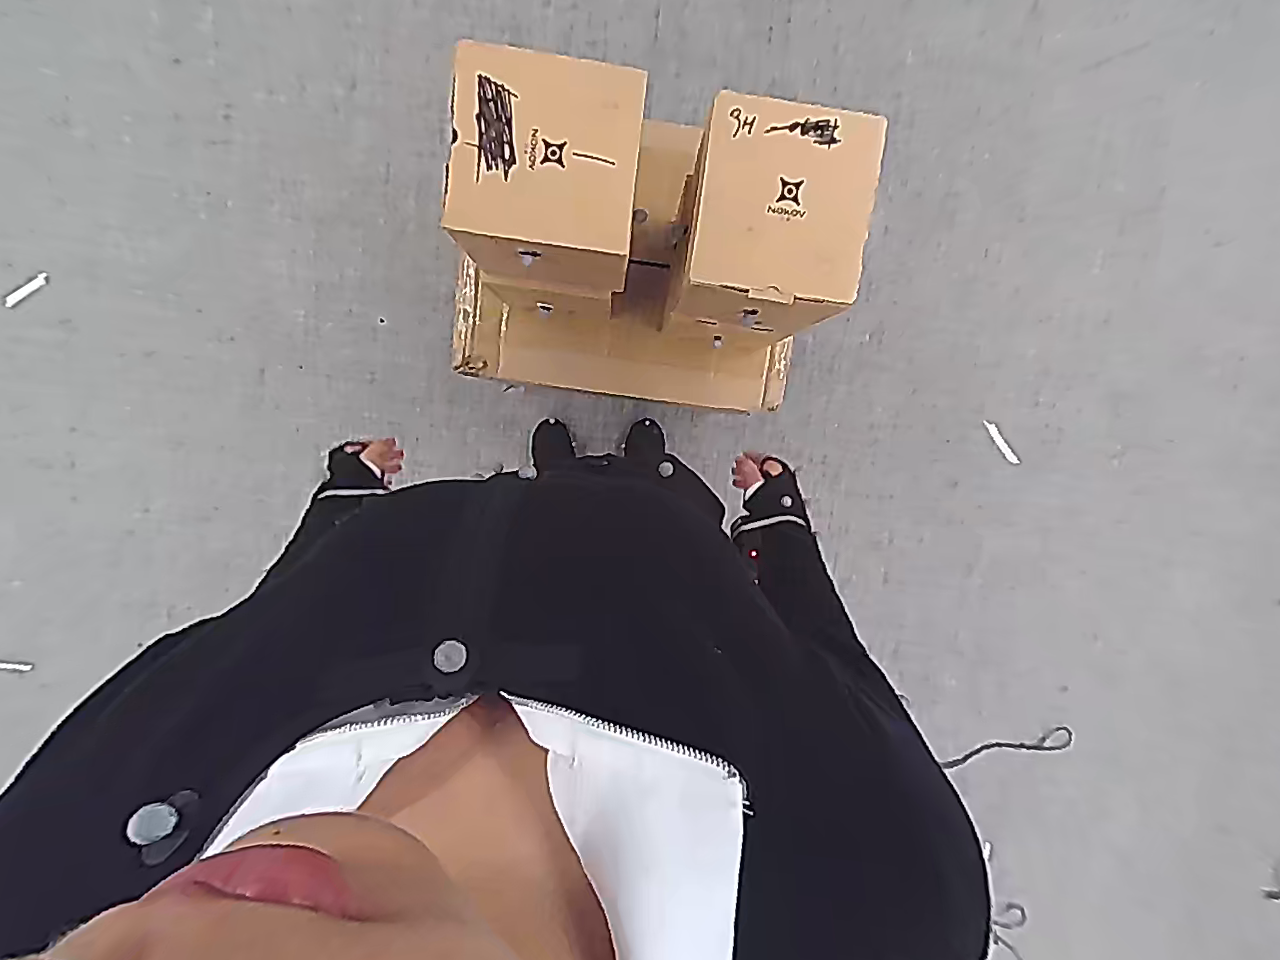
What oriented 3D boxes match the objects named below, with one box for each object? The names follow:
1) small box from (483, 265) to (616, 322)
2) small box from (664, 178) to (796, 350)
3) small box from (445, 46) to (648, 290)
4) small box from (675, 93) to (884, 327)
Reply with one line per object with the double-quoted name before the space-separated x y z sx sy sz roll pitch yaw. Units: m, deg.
"small box" -0.110 -0.328 0.745 0.168 0.176 0.179 6 98 -3
"small box" 0.126 -0.289 0.759 0.168 0.176 0.179 7 97 -2
"small box" -0.092 -0.313 0.582 0.179 0.176 0.168 6 97 -5
"small box" 0.135 -0.273 0.593 0.168 0.176 0.179 8 98 -4
